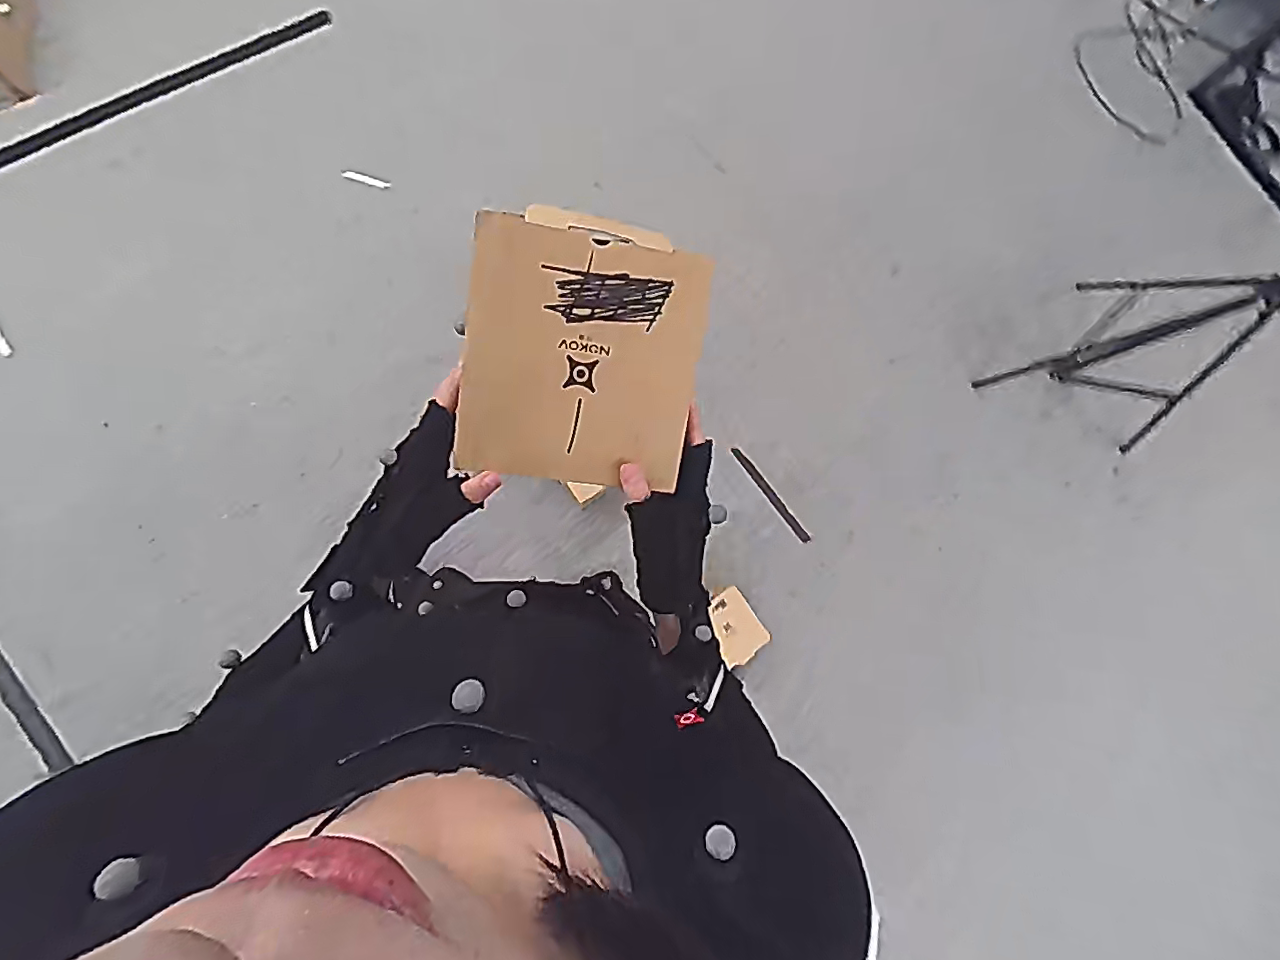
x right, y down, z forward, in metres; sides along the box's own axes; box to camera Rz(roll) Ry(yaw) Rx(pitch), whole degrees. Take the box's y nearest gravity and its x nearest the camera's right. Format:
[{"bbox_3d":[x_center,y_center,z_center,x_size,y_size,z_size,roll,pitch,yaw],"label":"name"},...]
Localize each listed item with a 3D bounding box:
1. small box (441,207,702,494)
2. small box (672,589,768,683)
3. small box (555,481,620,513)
[{"bbox_3d":[-0.063,-0.096,0.454,0.168,0.176,0.179,7,99,-13],"label":"small box"},{"bbox_3d":[0.212,0.414,1.472,0.168,0.176,0.179,-33,88,-12],"label":"small box"},{"bbox_3d":[-0.141,-0.025,1.490,0.179,0.176,0.168,-33,86,-11],"label":"small box"}]
